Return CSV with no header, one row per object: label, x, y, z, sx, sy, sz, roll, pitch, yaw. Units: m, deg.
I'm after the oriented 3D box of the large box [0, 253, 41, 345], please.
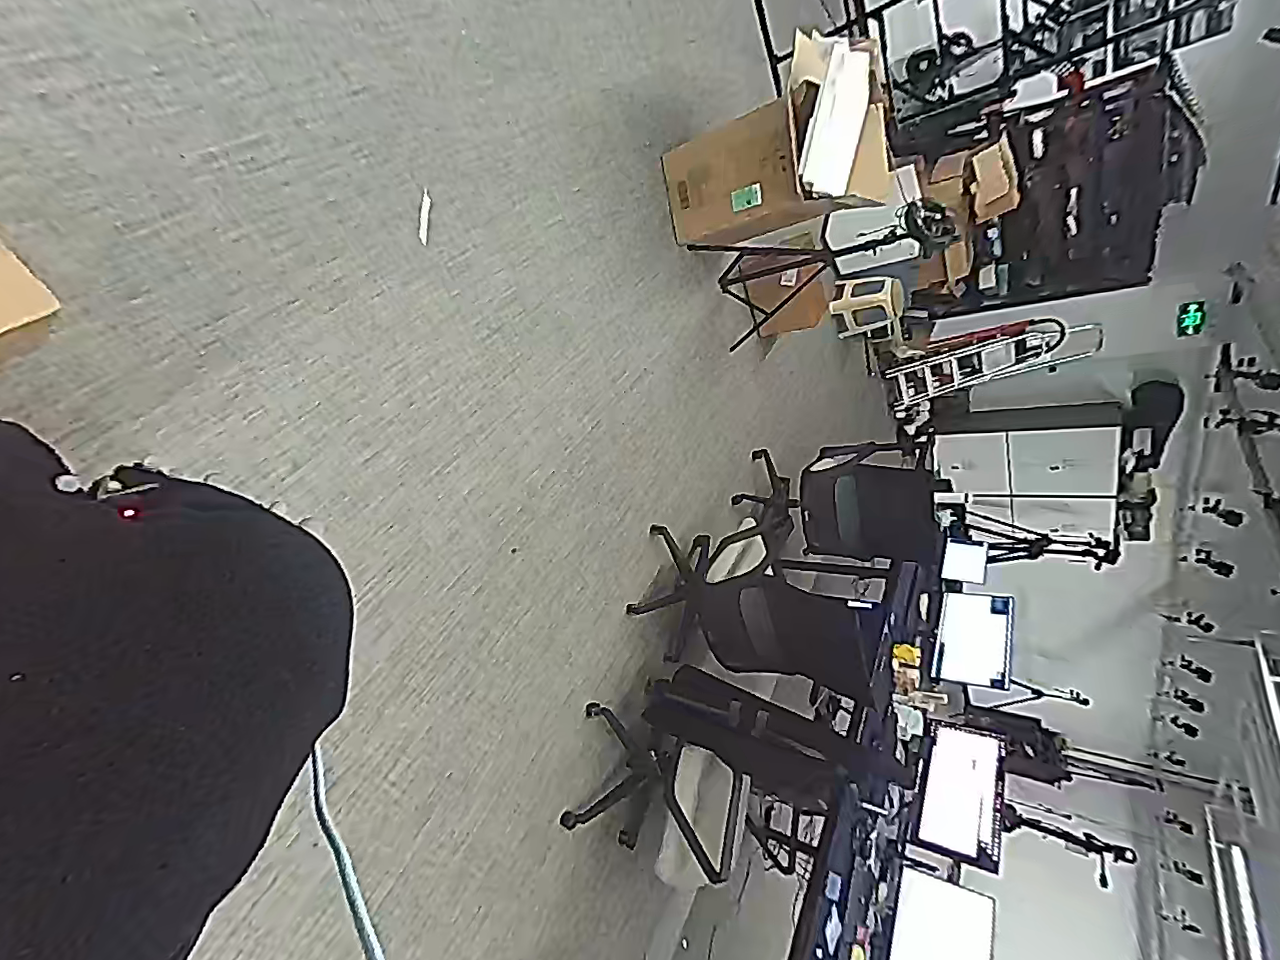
large box,-1.106,-0.242,0.651,0.408,0.320,0.320,-55,131,-39
